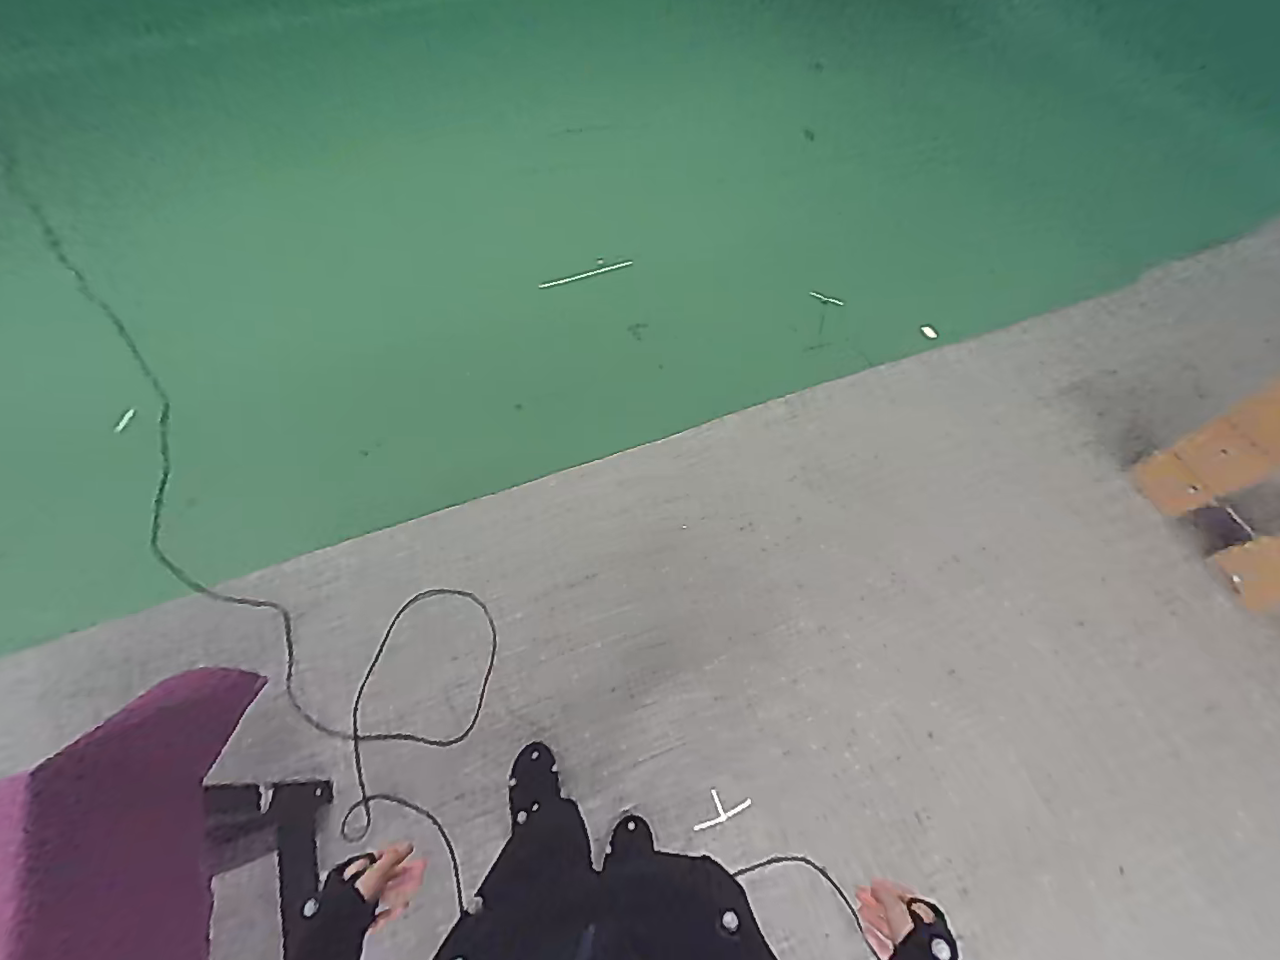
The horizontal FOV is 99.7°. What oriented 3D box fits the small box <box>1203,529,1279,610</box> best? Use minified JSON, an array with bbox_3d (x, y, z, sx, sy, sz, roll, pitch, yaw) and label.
[{"bbox_3d":[1.695,0.235,1.443,0.179,0.176,0.168,-11,62,-5],"label":"small box"}]
